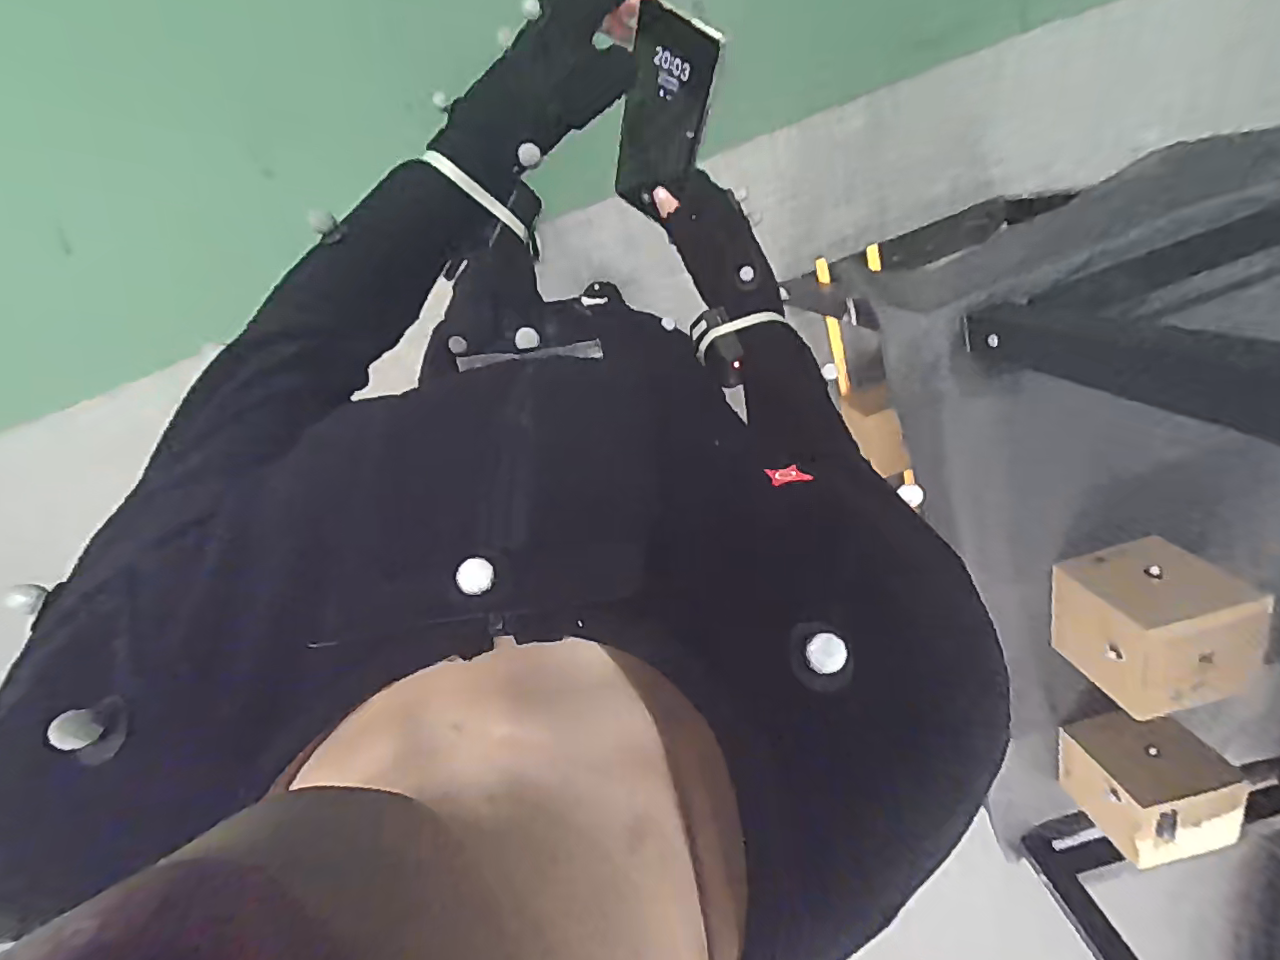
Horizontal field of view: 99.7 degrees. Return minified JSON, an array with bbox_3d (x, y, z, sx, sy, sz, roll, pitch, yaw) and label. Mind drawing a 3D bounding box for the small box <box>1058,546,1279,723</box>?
[{"bbox_3d":[0.766,0.217,0.807,0.168,0.176,0.179,-17,113,3],"label":"small box"}]
